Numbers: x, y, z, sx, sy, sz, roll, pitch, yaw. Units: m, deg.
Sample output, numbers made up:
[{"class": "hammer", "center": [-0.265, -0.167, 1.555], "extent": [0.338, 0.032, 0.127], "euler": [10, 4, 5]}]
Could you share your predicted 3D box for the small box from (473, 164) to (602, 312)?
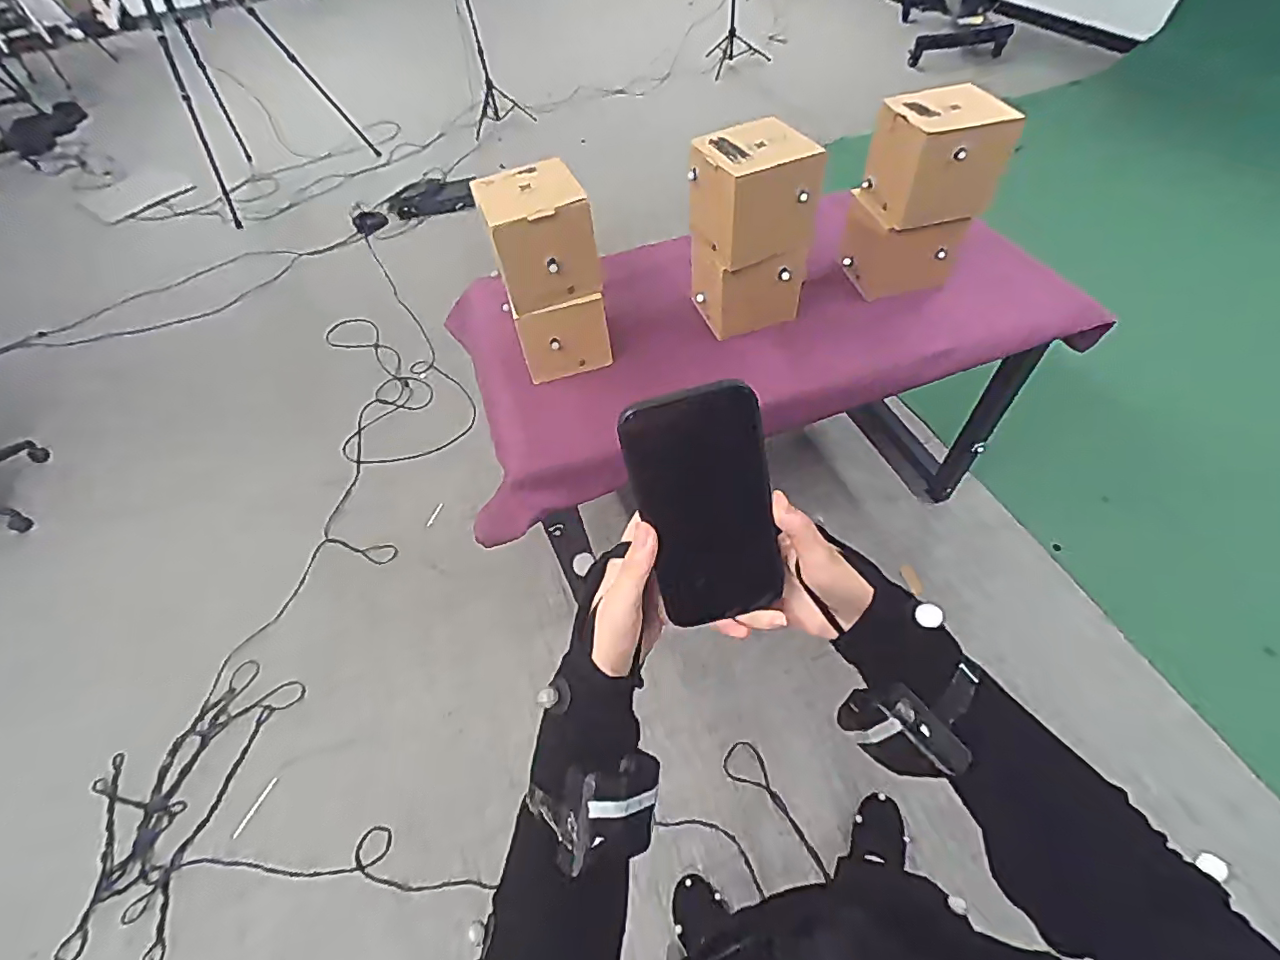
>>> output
[{"class": "small box", "center": [-0.177, -0.422, 0.962], "extent": [0.168, 0.176, 0.179], "euler": [-20, 55, -9]}]

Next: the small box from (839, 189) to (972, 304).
[{"class": "small box", "center": [0.547, -0.501, 1.143], "extent": [0.179, 0.176, 0.168], "euler": [-12, 53, -2]}]

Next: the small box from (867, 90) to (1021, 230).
[{"class": "small box", "center": [0.545, -0.589, 1.005], "extent": [0.179, 0.176, 0.168], "euler": [-12, 53, -3]}]

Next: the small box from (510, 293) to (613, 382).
[{"class": "small box", "center": [-0.160, -0.318, 1.088], "extent": [0.168, 0.176, 0.179], "euler": [-16, 53, -5]}]

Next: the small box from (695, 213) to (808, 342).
[{"class": "small box", "center": [0.219, -0.415, 1.115], "extent": [0.179, 0.176, 0.168], "euler": [-17, 53, -6]}]
